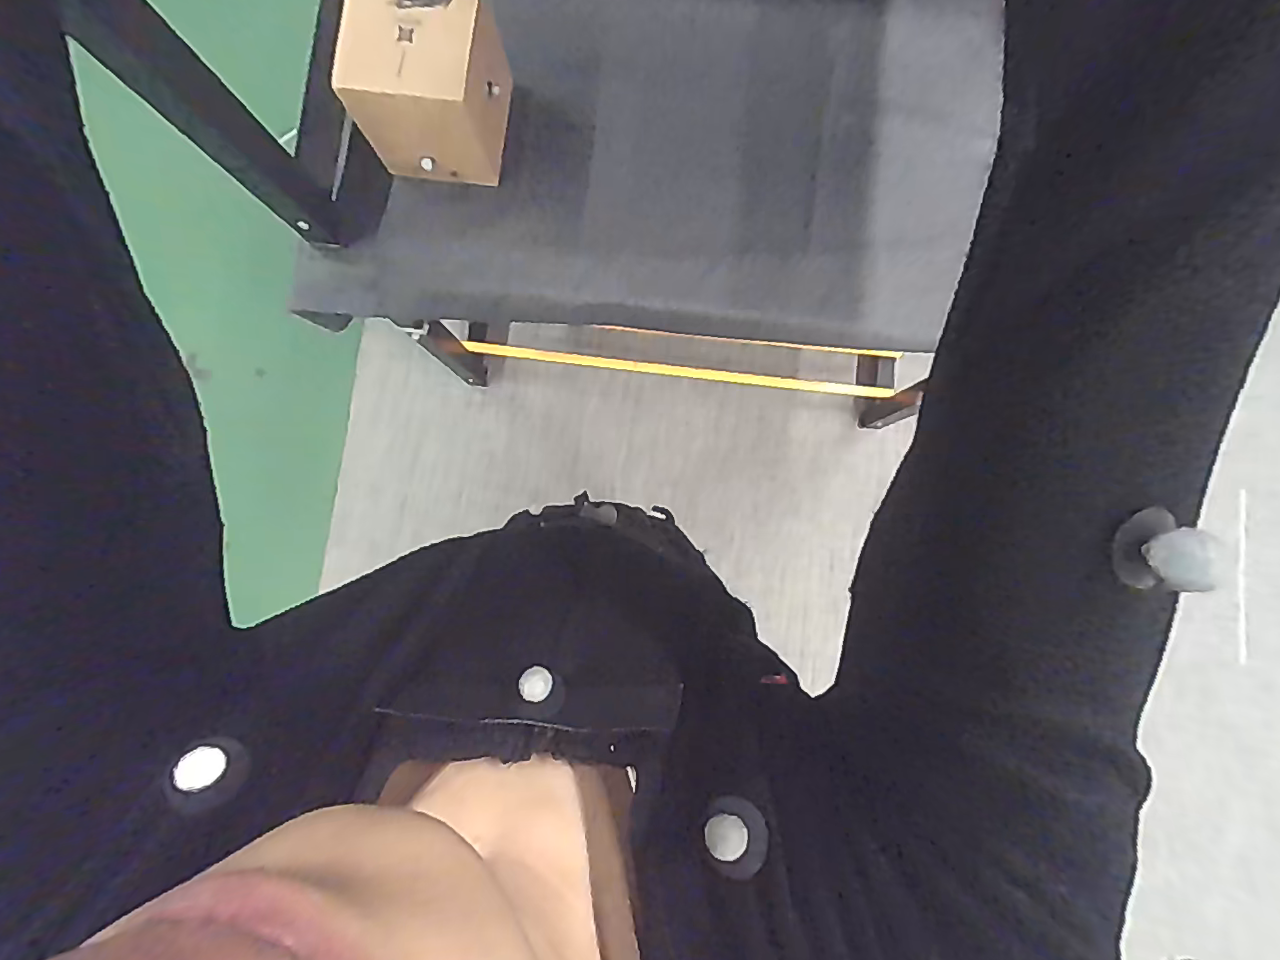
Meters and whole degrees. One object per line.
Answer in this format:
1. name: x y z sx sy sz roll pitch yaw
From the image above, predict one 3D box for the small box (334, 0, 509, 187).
1. small box: -0.286 -0.547 0.748 0.168 0.176 0.179 6 85 0
